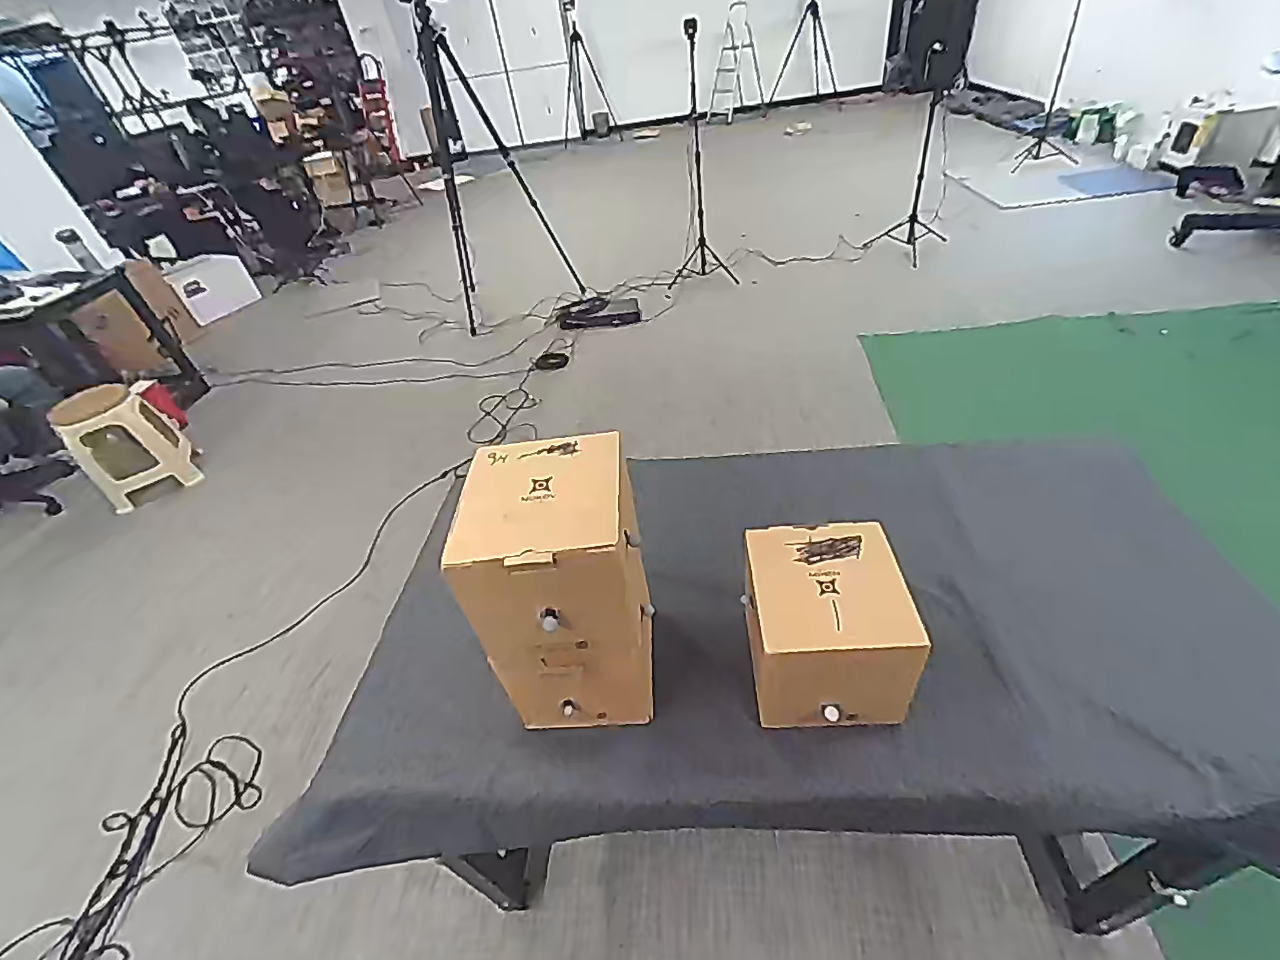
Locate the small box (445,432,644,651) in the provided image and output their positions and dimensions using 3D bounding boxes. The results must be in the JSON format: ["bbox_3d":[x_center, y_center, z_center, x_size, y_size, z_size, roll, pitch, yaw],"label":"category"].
[{"bbox_3d":[-0.088,0.073,0.596,0.168,0.176,0.179,-6,41,4],"label":"small box"}]

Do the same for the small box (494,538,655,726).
[{"bbox_3d":[-0.071,0.195,0.704,0.168,0.176,0.179,-5,41,5],"label":"small box"}]

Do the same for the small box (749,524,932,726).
[{"bbox_3d":[0.224,0.176,0.660,0.168,0.176,0.179,-5,40,7],"label":"small box"}]
